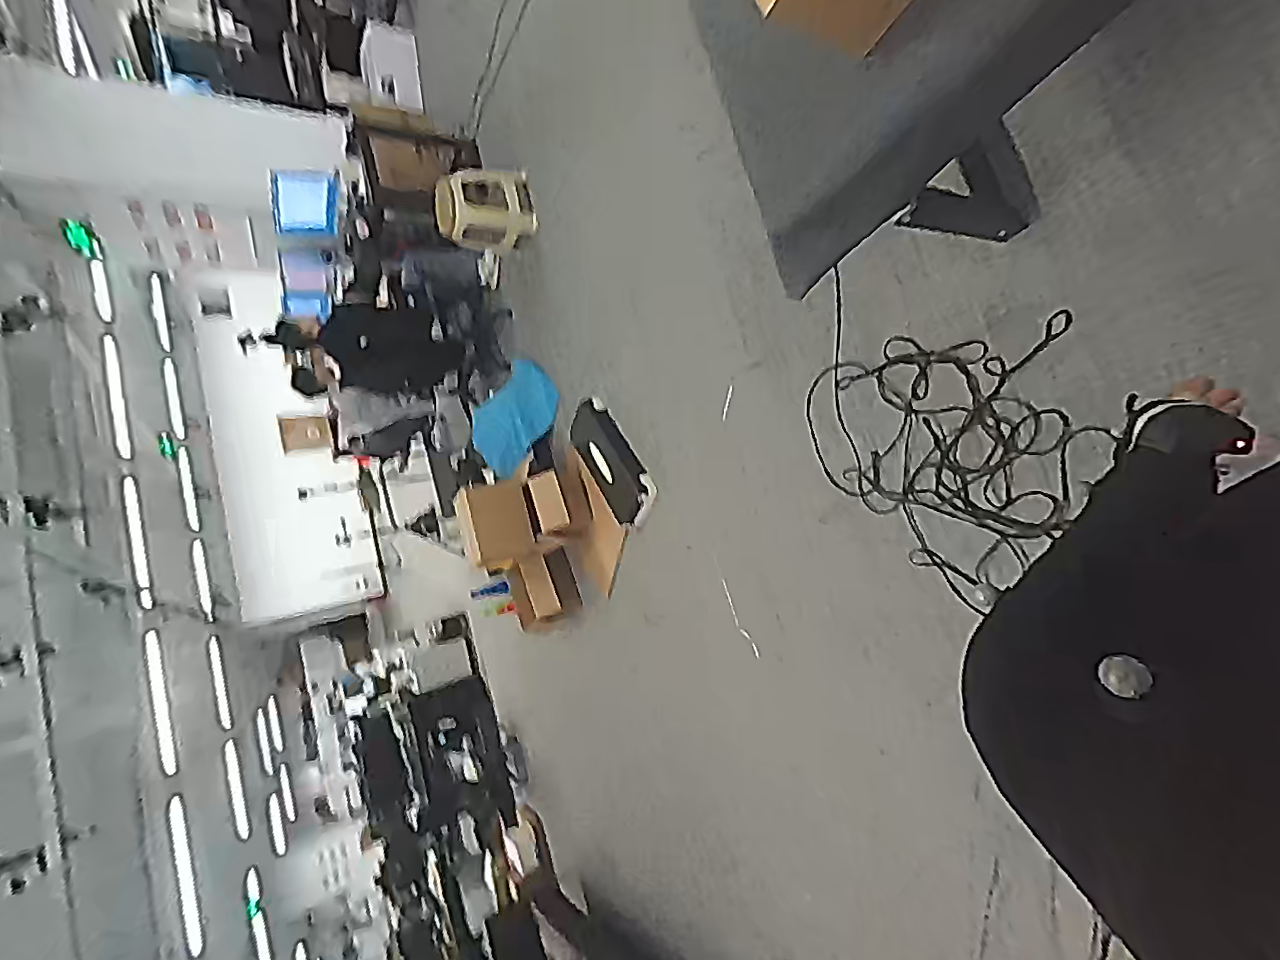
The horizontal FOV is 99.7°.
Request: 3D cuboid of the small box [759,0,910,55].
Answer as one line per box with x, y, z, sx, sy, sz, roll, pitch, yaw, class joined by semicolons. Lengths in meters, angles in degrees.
0.217;-0.598;0.556;0.179;0.176;0.168;-37;67;55;small box
